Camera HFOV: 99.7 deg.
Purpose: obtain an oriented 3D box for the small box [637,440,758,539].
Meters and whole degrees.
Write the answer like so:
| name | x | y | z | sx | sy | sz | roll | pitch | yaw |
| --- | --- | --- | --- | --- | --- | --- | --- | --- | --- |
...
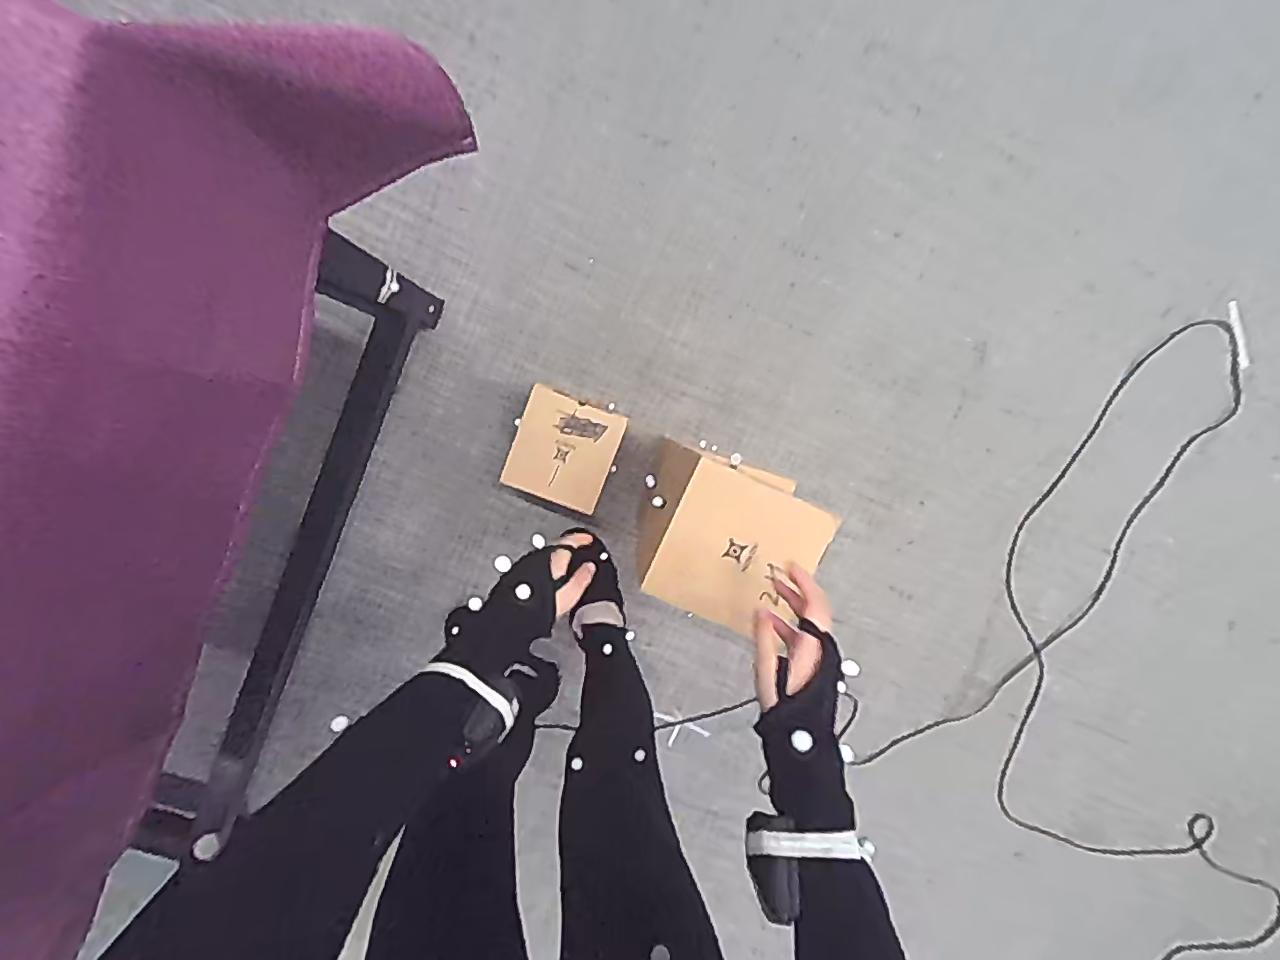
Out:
| name | x | y | z | sx | sy | sz | roll | pitch | yaw |
| --- | --- | --- | --- | --- | --- | --- | --- | --- | --- |
| small box | 0.096 | 0.035 | 1.004 | 0.168 | 0.176 | 0.179 | 18 | 96 | -6 |

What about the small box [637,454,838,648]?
| name | x | y | z | sx | sy | sz | roll | pitch | yaw |
| --- | --- | --- | --- | --- | --- | --- | --- | --- | --- |
| small box | 0.104 | 0.075 | 0.677 | 0.179 | 0.176 | 0.168 | 25 | 96 | -6 |
